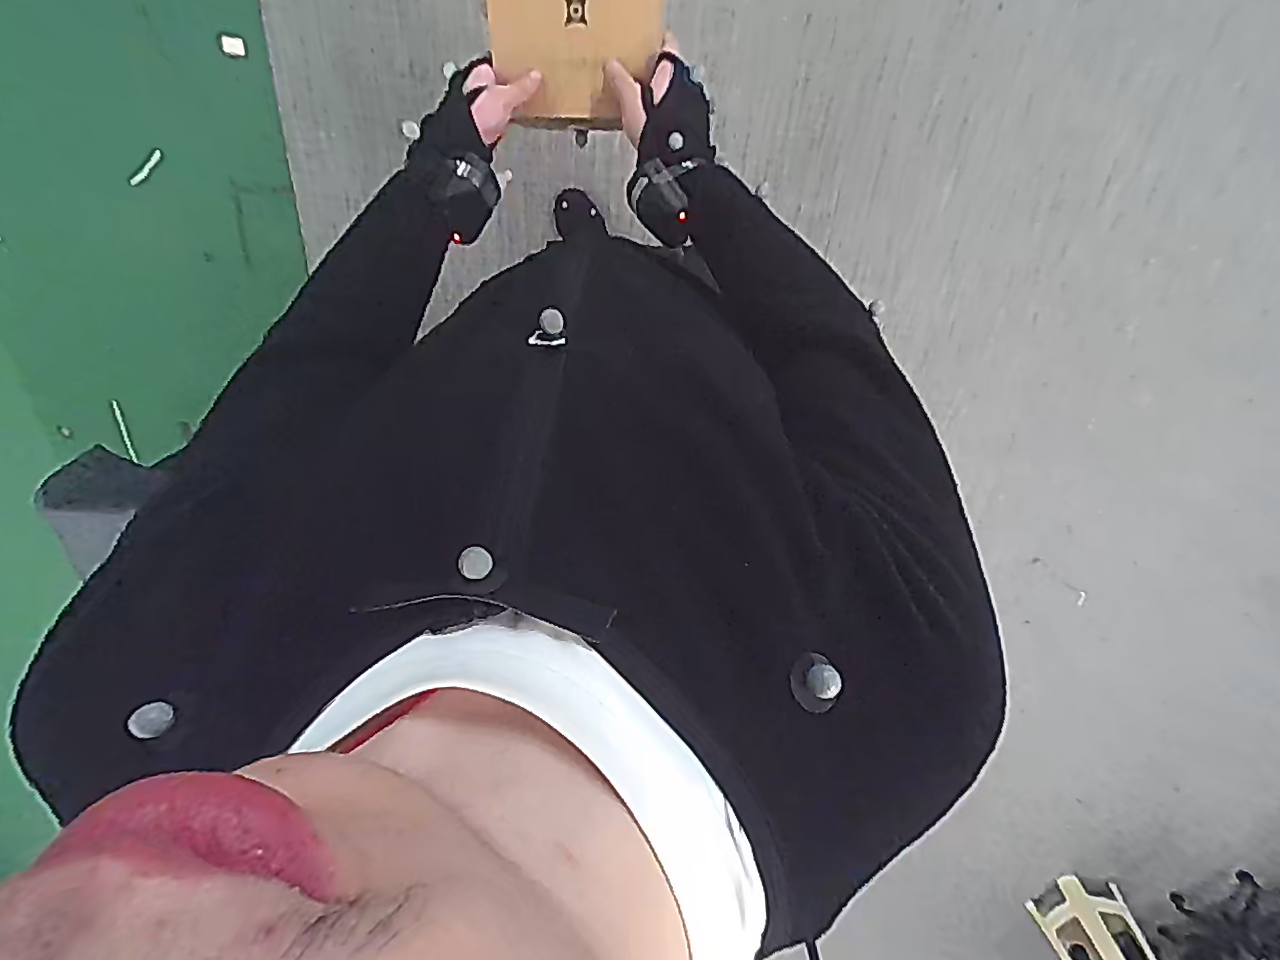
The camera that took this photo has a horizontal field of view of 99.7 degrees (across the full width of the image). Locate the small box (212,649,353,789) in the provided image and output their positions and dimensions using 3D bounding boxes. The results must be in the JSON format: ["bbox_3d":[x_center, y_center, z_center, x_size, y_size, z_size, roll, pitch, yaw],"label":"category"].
[{"bbox_3d":[-0.670,0.451,1.035,0.168,0.176,0.179,12,118,-6],"label":"small box"}]

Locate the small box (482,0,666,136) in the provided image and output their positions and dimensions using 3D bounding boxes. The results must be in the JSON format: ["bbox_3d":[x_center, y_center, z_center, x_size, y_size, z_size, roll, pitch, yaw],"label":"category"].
[{"bbox_3d":[-0.059,-0.466,0.553,0.168,0.176,0.179,3,119,1],"label":"small box"}]
